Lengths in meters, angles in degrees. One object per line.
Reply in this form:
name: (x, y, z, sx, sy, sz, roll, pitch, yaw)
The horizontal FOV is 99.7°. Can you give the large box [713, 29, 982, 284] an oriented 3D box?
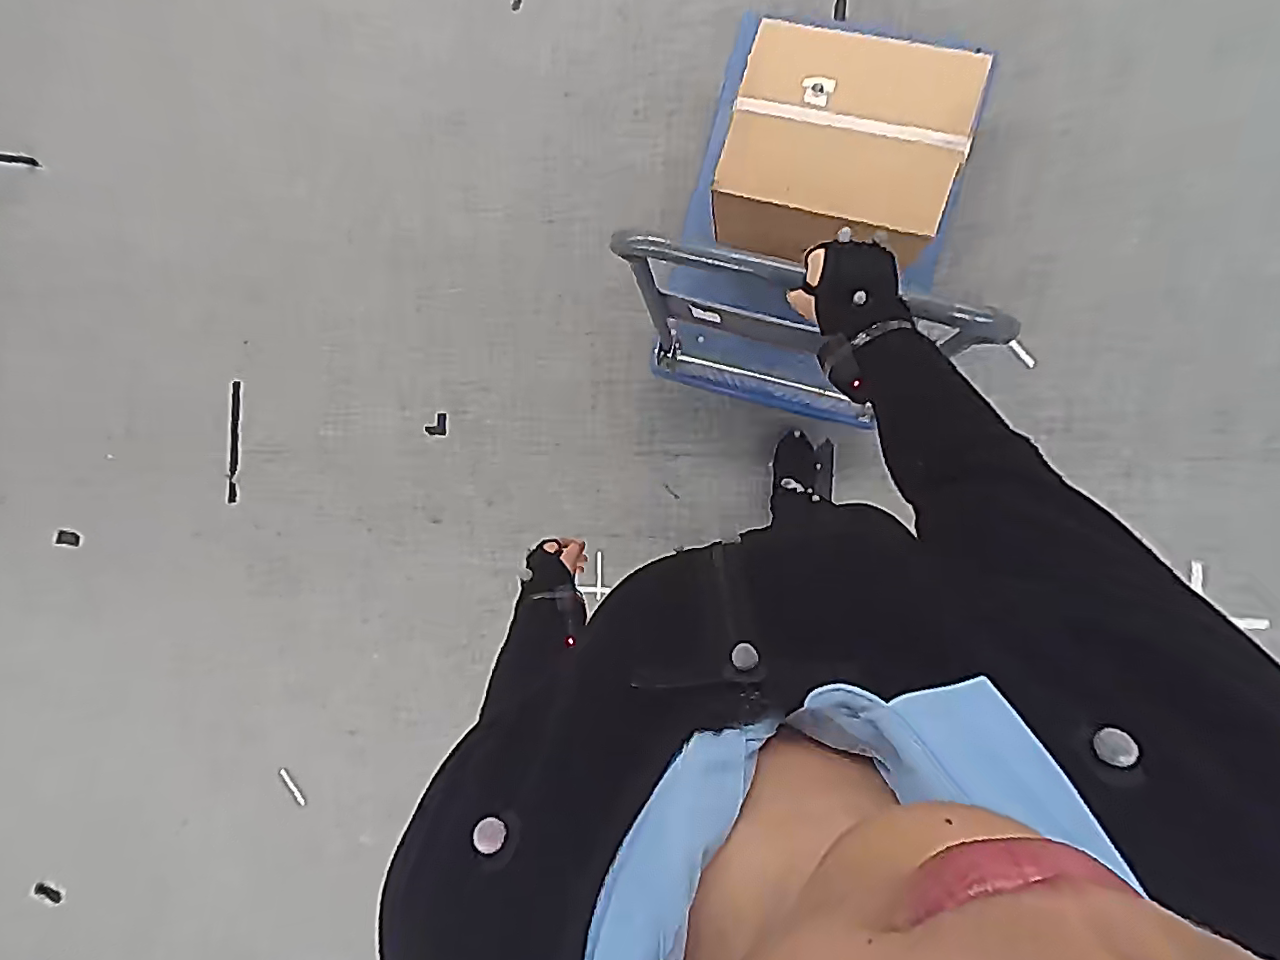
large box: (0.394, -0.639, 1.119, 0.408, 0.320, 0.320, 17, 94, 11)
